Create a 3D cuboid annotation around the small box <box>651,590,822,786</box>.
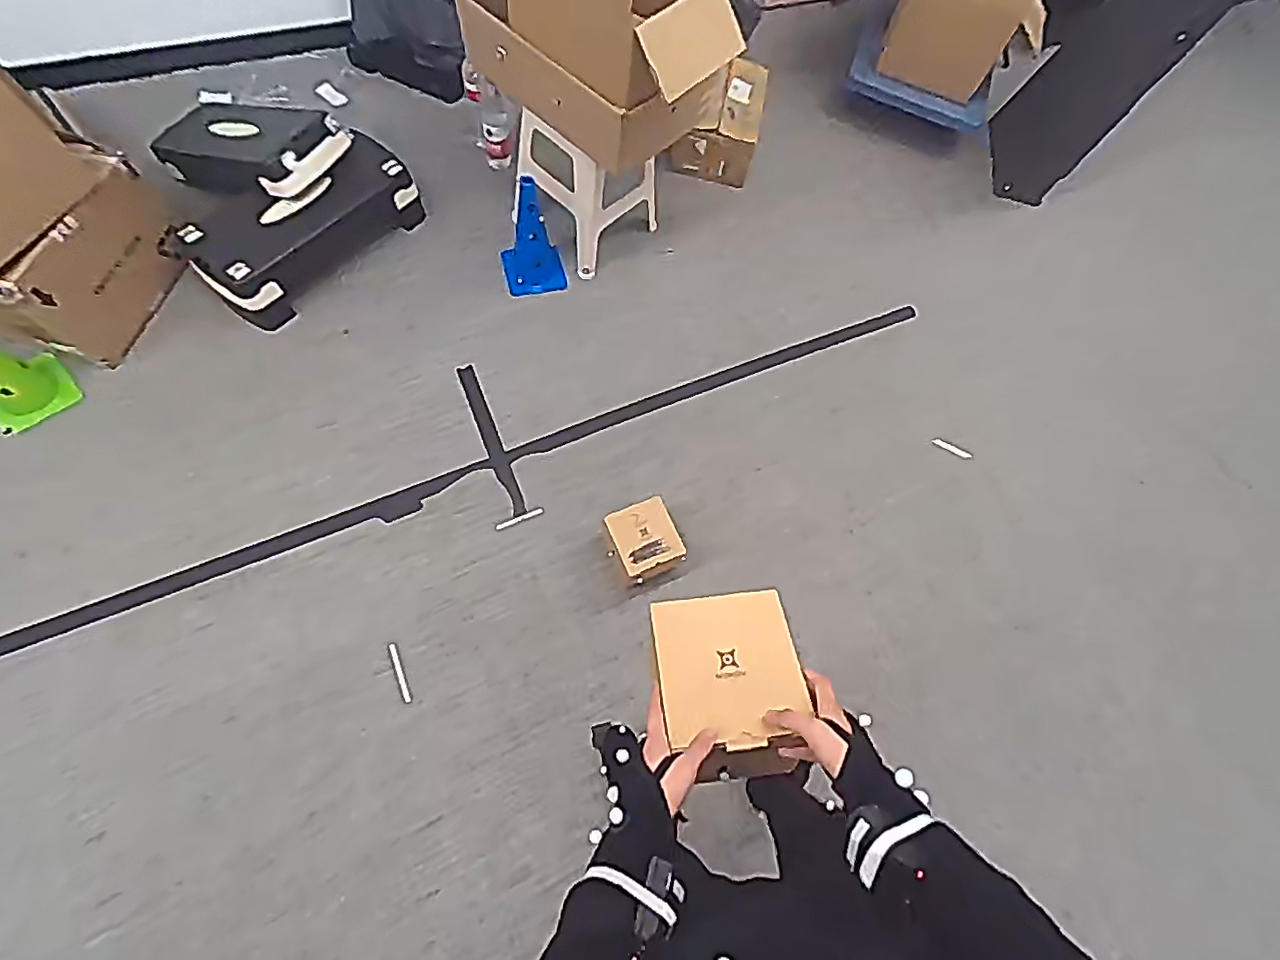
[{"bbox_3d":[0.105,0.265,0.688,0.168,0.176,0.179,-6,50,-4],"label":"small box"}]
